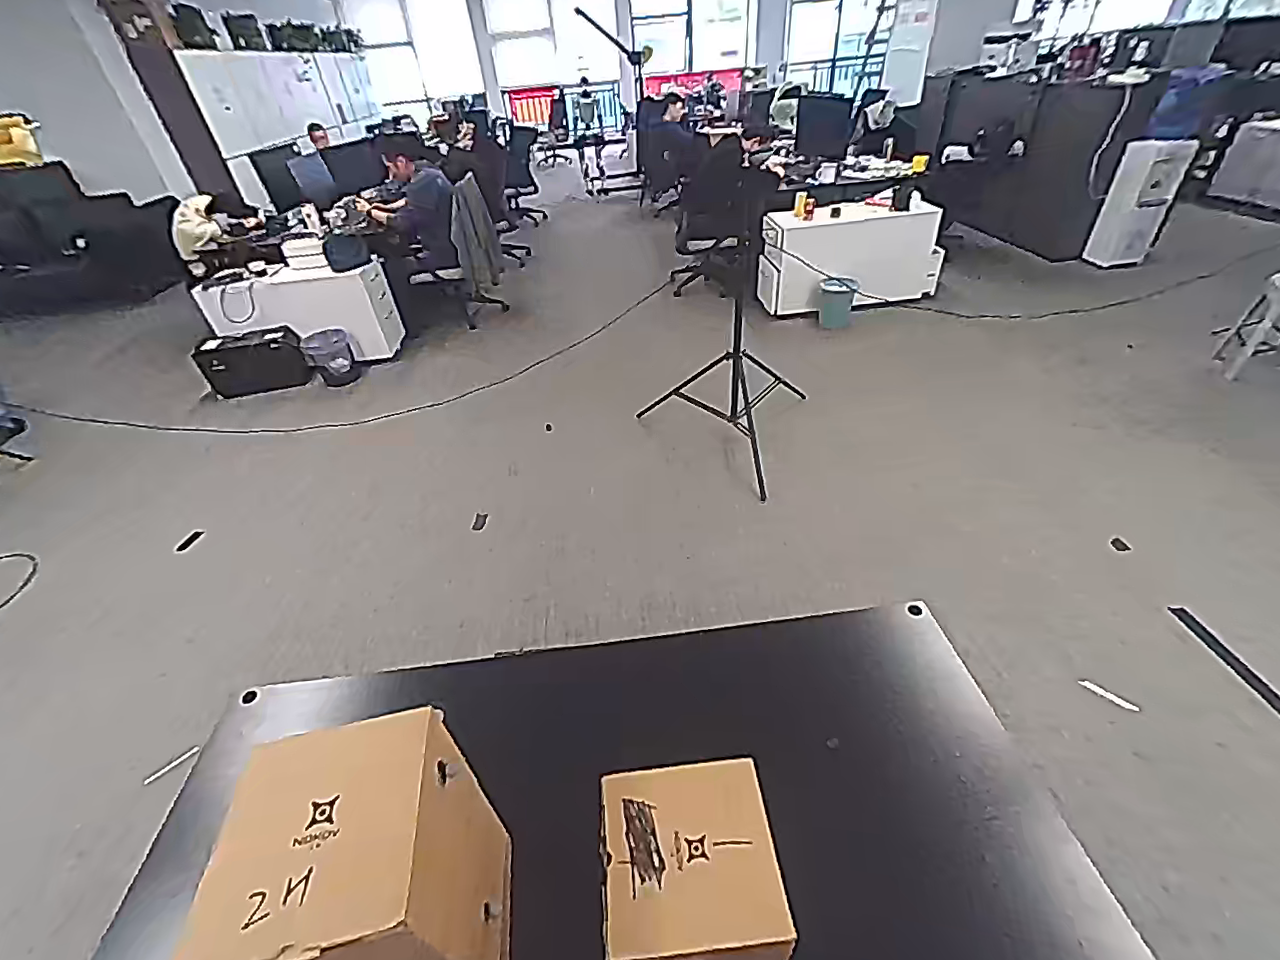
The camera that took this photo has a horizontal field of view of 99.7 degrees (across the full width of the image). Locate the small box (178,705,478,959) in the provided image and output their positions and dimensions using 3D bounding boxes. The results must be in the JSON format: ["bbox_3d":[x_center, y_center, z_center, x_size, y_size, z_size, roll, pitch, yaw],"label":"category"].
[{"bbox_3d":[-0.256,0.347,0.501,0.168,0.176,0.179,-11,38,-6],"label":"small box"}]

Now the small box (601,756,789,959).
[{"bbox_3d":[0.055,0.441,0.608,0.179,0.176,0.168,-6,38,-1],"label":"small box"}]

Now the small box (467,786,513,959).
[{"bbox_3d":[-0.242,0.480,0.600,0.168,0.176,0.179,-10,38,-4],"label":"small box"}]
